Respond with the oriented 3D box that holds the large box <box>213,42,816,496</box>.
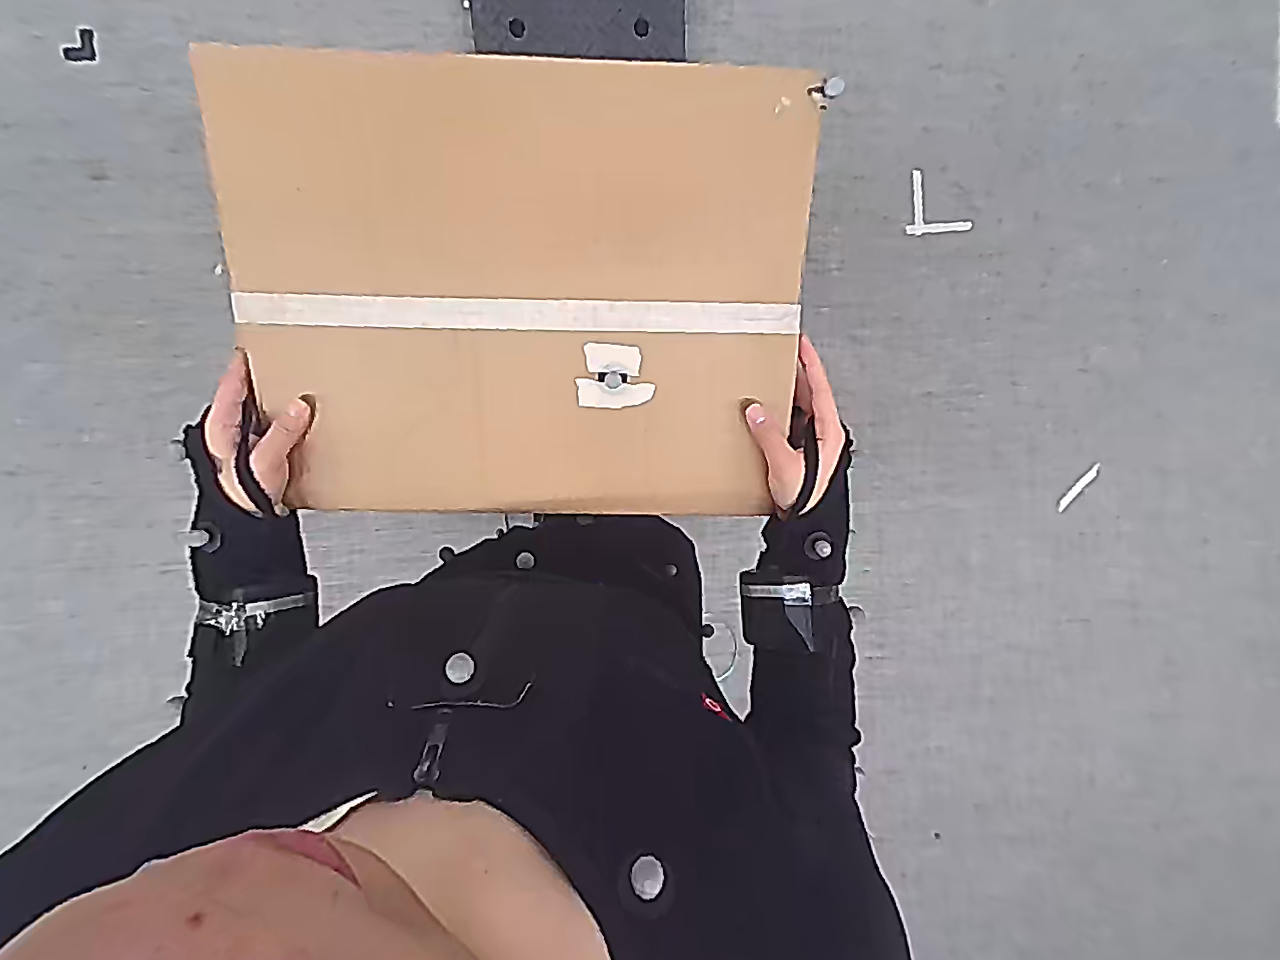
[{"bbox_3d":[-0.088,-0.178,0.540,0.408,0.320,0.320,1,109,-2],"label":"large box"}]
